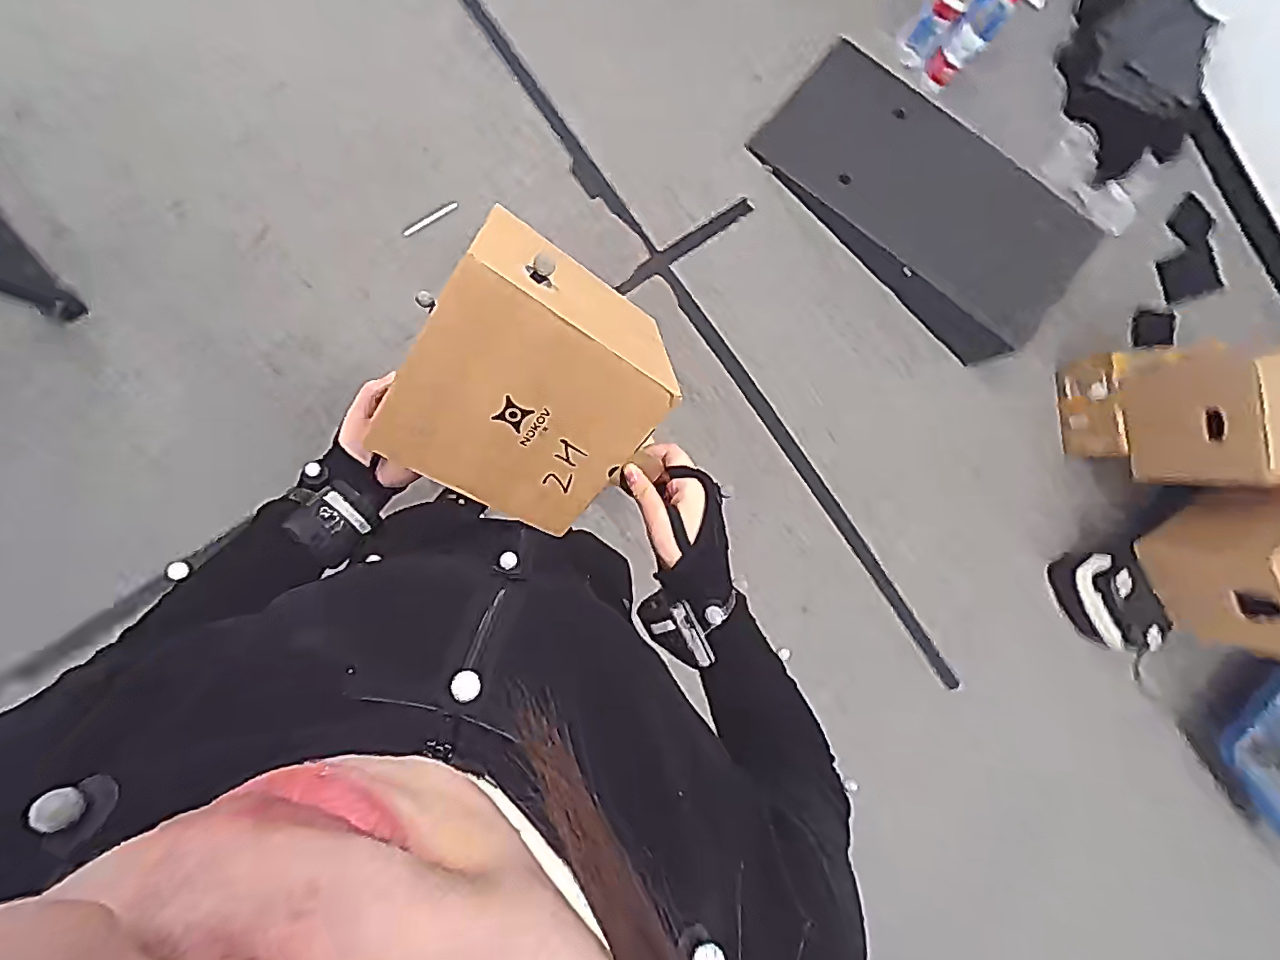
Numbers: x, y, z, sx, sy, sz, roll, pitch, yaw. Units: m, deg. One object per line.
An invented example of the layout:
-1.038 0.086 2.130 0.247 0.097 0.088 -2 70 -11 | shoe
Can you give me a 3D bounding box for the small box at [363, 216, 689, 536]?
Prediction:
-0.090 -0.091 0.448 0.179 0.176 0.168 28 117 -26 | small box
